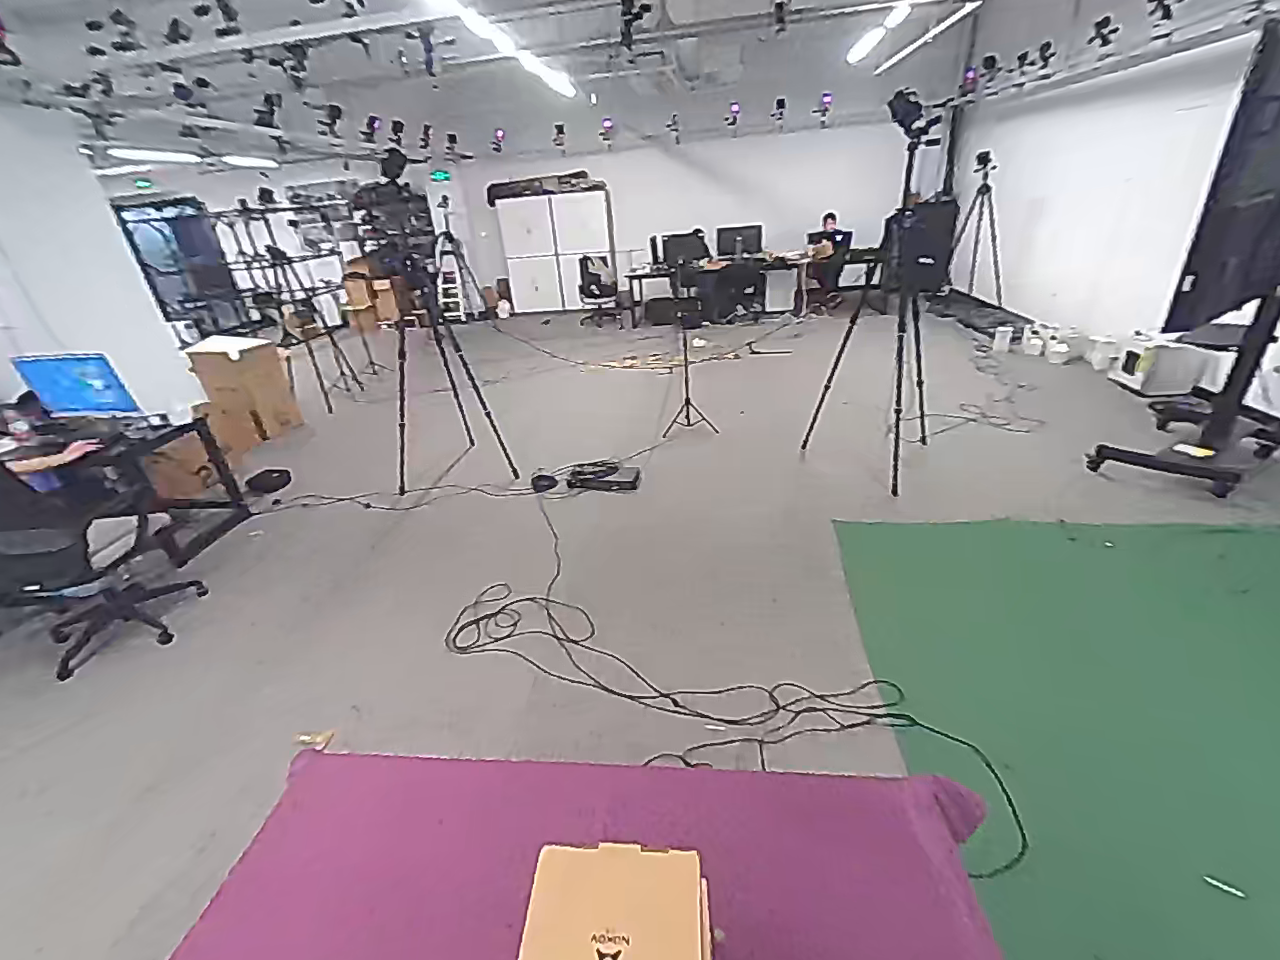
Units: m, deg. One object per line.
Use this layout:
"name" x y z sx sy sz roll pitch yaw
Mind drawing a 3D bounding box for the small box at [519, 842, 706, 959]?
"small box" -0.020 0.486 0.515 0.168 0.176 0.179 -2 30 6
